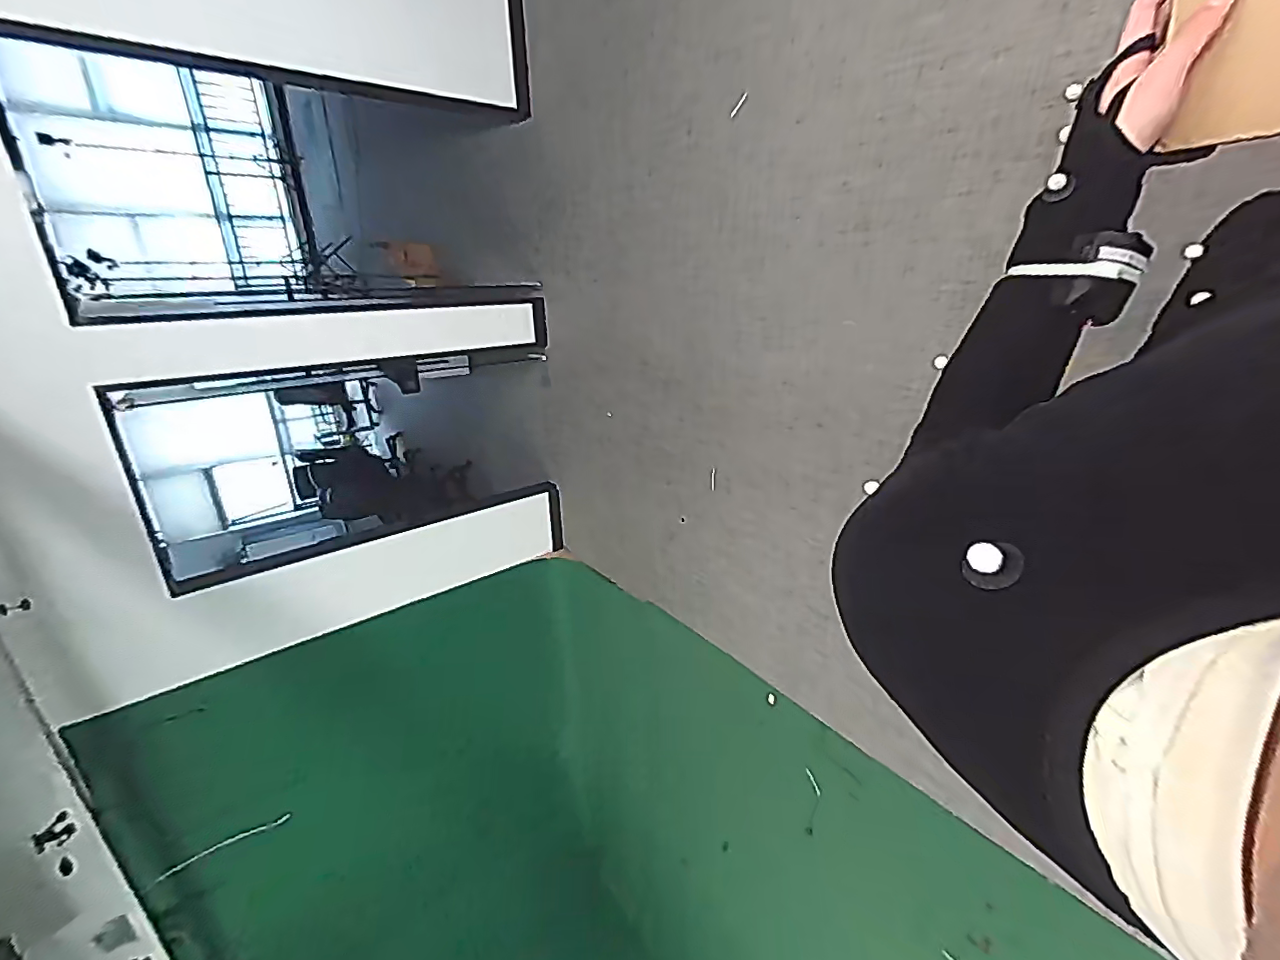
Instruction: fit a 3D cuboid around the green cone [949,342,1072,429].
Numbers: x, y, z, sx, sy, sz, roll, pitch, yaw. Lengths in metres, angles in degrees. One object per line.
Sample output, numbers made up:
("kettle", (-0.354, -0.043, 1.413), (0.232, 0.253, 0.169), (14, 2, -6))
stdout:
("green cone", (0.860, -0.206, 1.329), (0.200, 0.368, 0.202), (31, 128, 44))
